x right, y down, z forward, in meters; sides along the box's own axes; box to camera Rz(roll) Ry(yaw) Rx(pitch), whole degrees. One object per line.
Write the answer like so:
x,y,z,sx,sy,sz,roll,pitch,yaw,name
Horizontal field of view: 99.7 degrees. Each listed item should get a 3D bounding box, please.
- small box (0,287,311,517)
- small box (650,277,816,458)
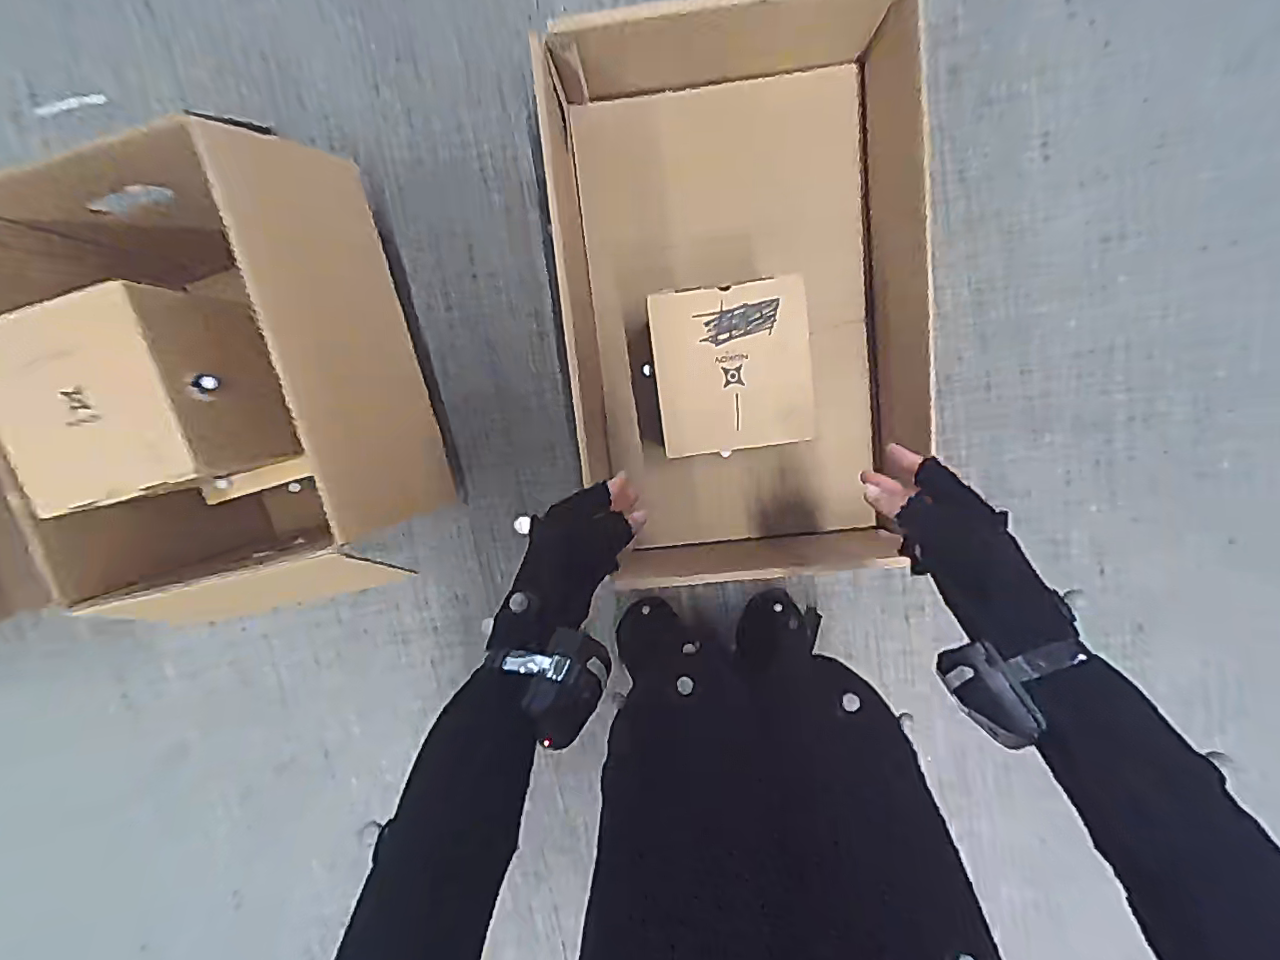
-0.485,-0.079,0.559,0.168,0.176,0.179,-14,99,4,small box
0.102,-0.126,0.654,0.168,0.176,0.179,-7,97,4,small box
